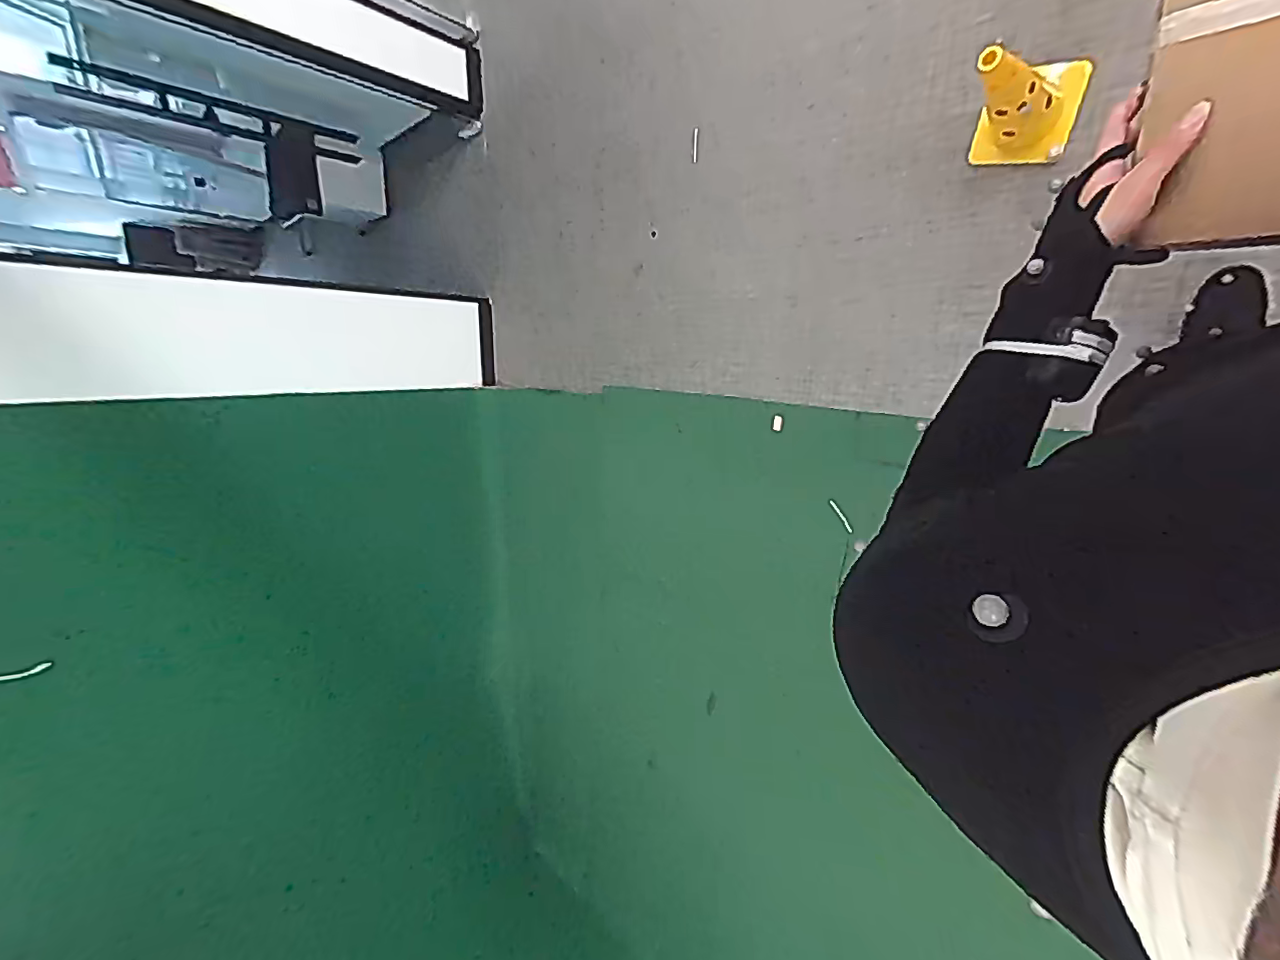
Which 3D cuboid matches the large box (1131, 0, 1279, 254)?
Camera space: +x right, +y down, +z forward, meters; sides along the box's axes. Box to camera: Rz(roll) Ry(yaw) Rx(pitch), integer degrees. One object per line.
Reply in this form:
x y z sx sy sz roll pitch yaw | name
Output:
0.659 -0.358 0.396 0.408 0.320 0.320 13 115 42 | large box
